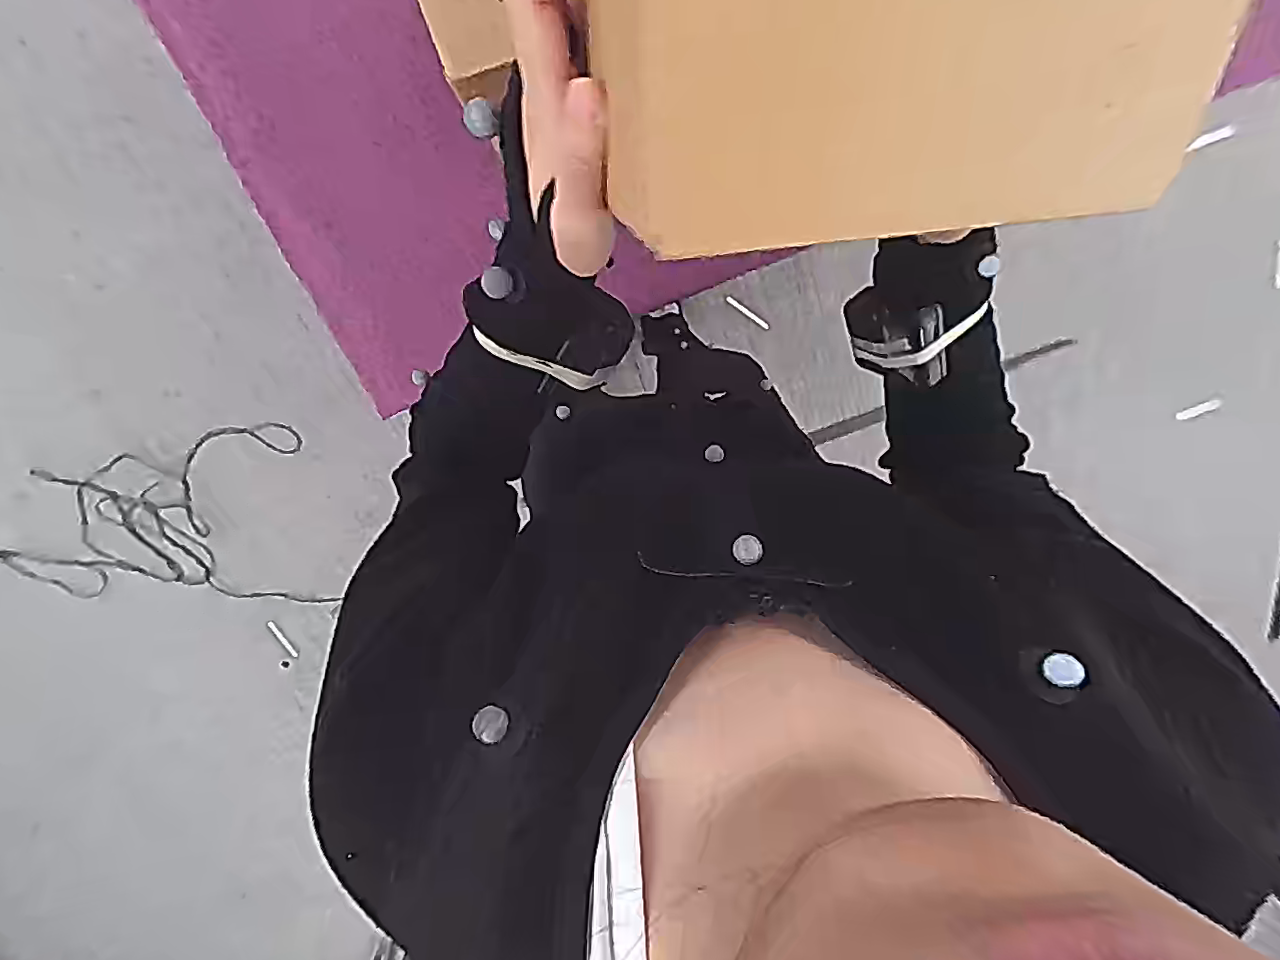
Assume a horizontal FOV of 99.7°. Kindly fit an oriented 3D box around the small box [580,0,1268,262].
[{"bbox_3d":[0.069,-0.186,0.182,0.168,0.176,0.179,-8,123,-8],"label":"small box"}]

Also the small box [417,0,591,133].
[{"bbox_3d":[-0.066,-0.352,0.337,0.168,0.176,0.179,-18,114,0],"label":"small box"}]

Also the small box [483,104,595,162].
[{"bbox_3d":[-0.086,-0.416,0.487,0.168,0.176,0.179,-20,115,0],"label":"small box"}]
